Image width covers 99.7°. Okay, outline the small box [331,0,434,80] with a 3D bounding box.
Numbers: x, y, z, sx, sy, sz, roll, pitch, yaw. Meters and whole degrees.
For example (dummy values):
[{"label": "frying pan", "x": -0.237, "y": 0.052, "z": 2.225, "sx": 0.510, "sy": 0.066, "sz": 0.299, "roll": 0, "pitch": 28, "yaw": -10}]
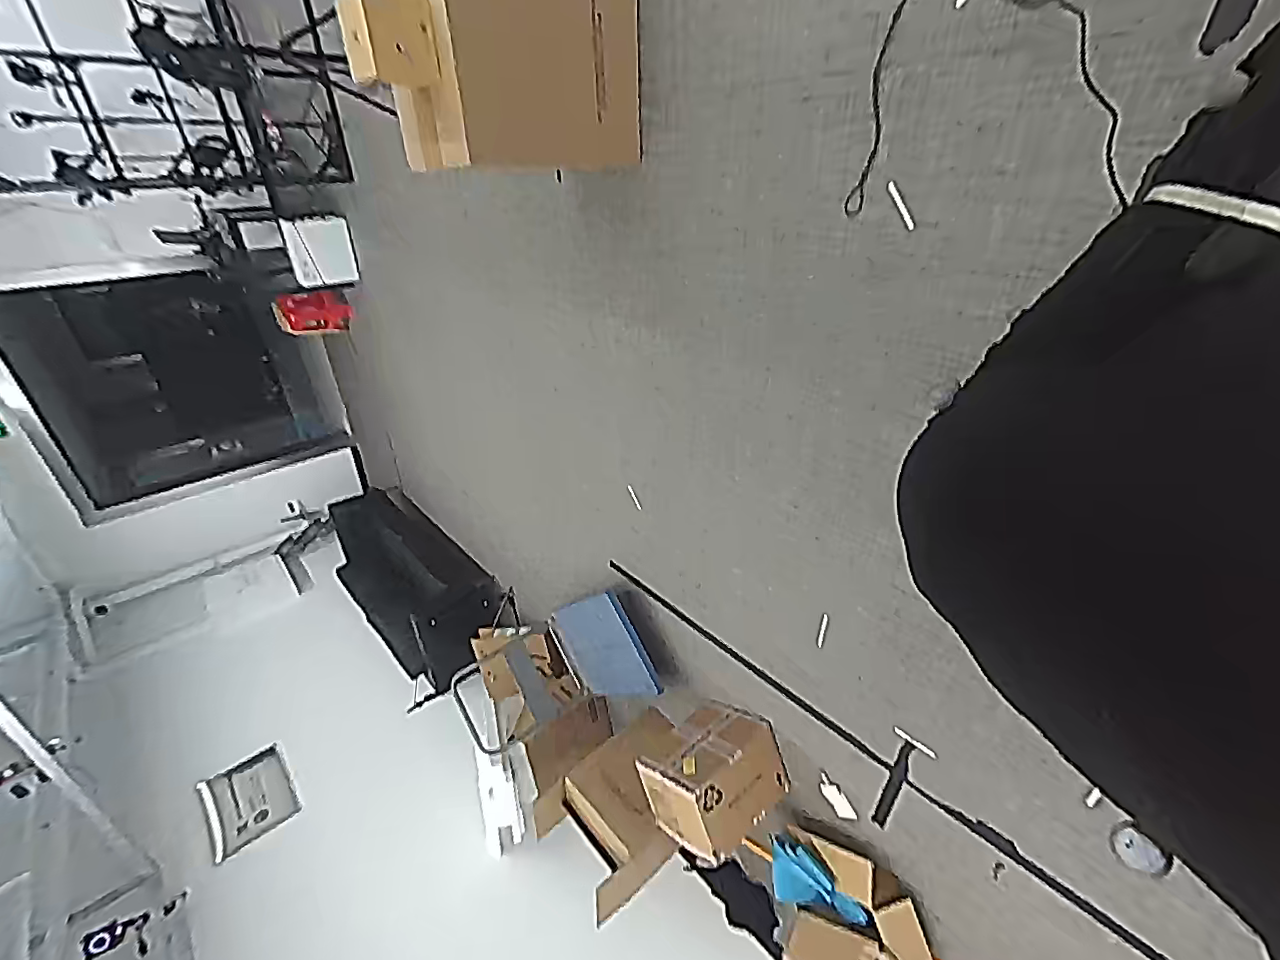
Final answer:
[{"label": "small box", "x": -0.626, "y": -1.099, "z": 1.334, "sx": 0.179, "sy": 0.176, "sz": 0.168, "roll": 30, "pitch": 133, "yaw": 40}]
